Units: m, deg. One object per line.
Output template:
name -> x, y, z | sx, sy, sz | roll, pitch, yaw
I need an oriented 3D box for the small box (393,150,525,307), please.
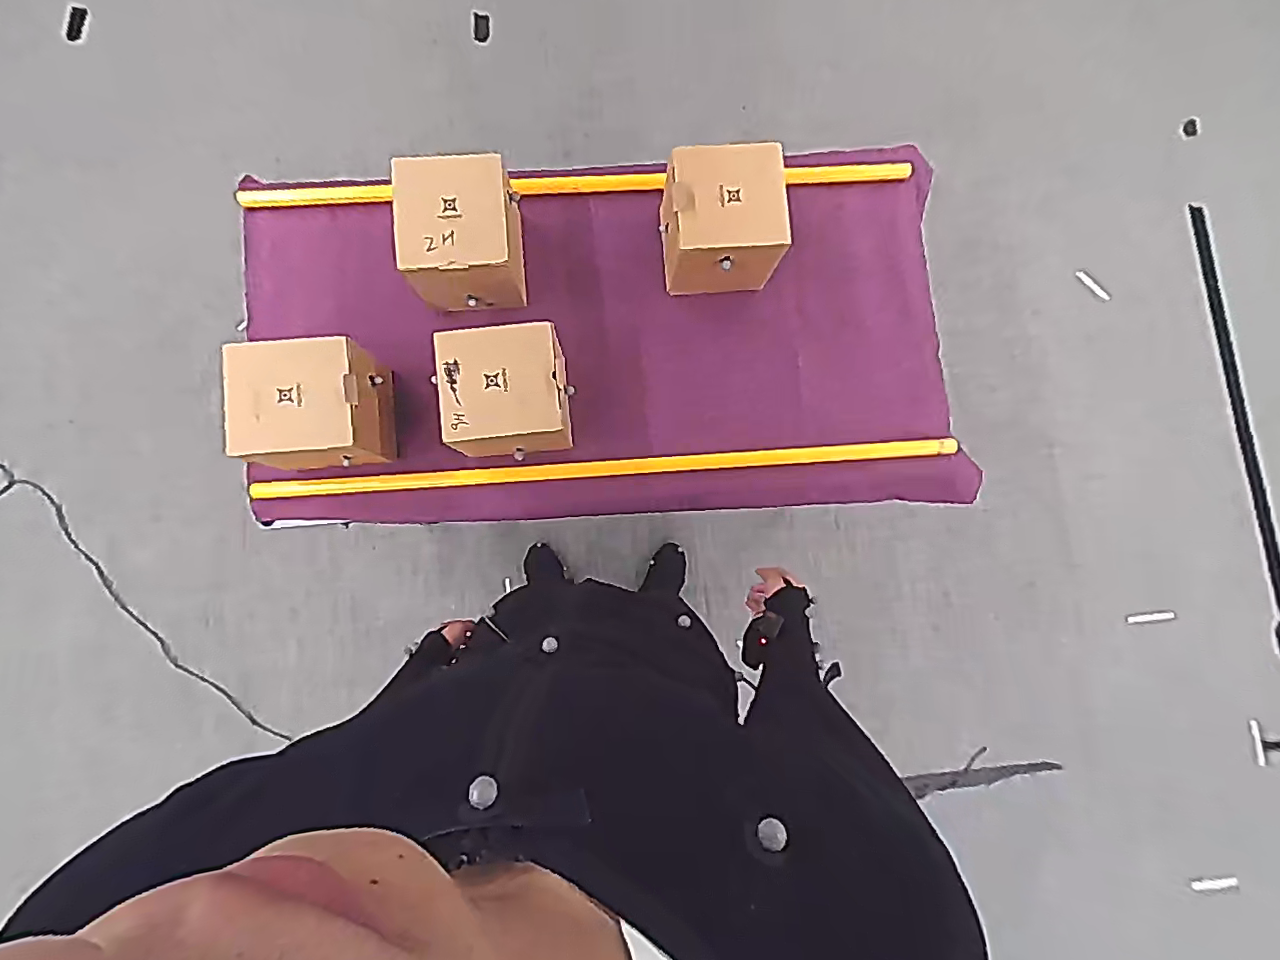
small box -> -0.286, -0.401, 0.884 | 0.168, 0.176, 0.179 | -4, 87, -3

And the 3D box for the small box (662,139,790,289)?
small box -> 0.135, -0.435, 0.906 | 0.179, 0.176, 0.168 | -4, 86, -2

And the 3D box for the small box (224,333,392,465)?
small box -> -0.503, -0.119, 0.847 | 0.179, 0.176, 0.168 | -5, 85, -5

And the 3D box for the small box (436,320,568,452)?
small box -> -0.209, -0.141, 0.864 | 0.179, 0.176, 0.168 | -6, 85, -3
